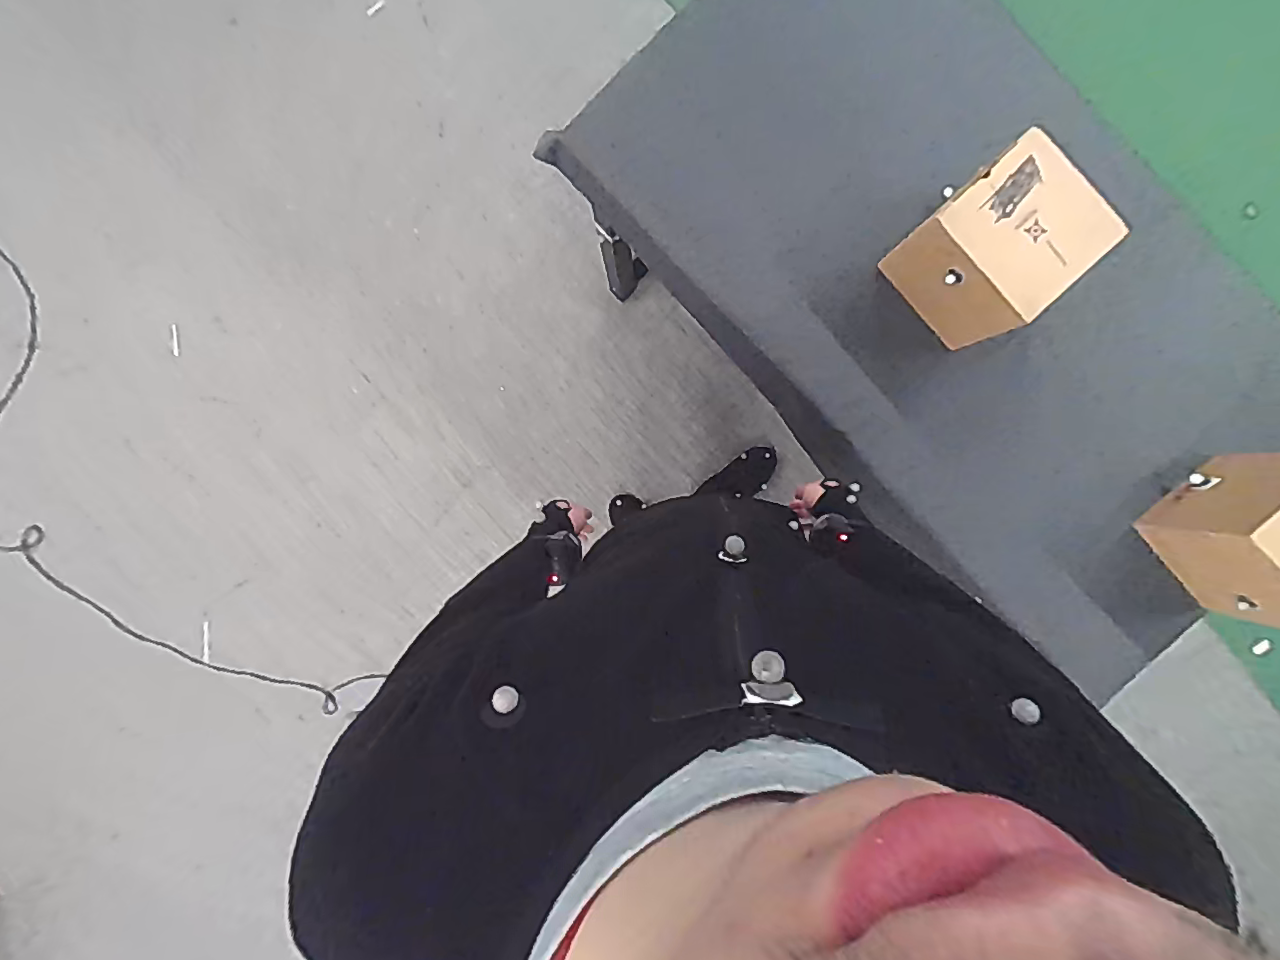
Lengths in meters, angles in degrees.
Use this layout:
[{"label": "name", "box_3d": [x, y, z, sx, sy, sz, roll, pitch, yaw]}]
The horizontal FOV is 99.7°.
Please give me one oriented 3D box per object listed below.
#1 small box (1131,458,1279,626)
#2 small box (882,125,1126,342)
[{"label": "small box", "box_3d": [0.856, 0.080, 0.743, 0.168, 0.176, 0.179, -41, 90, 1]}, {"label": "small box", "box_3d": [0.469, -0.312, 0.729, 0.168, 0.176, 0.179, -42, 93, 3]}]
